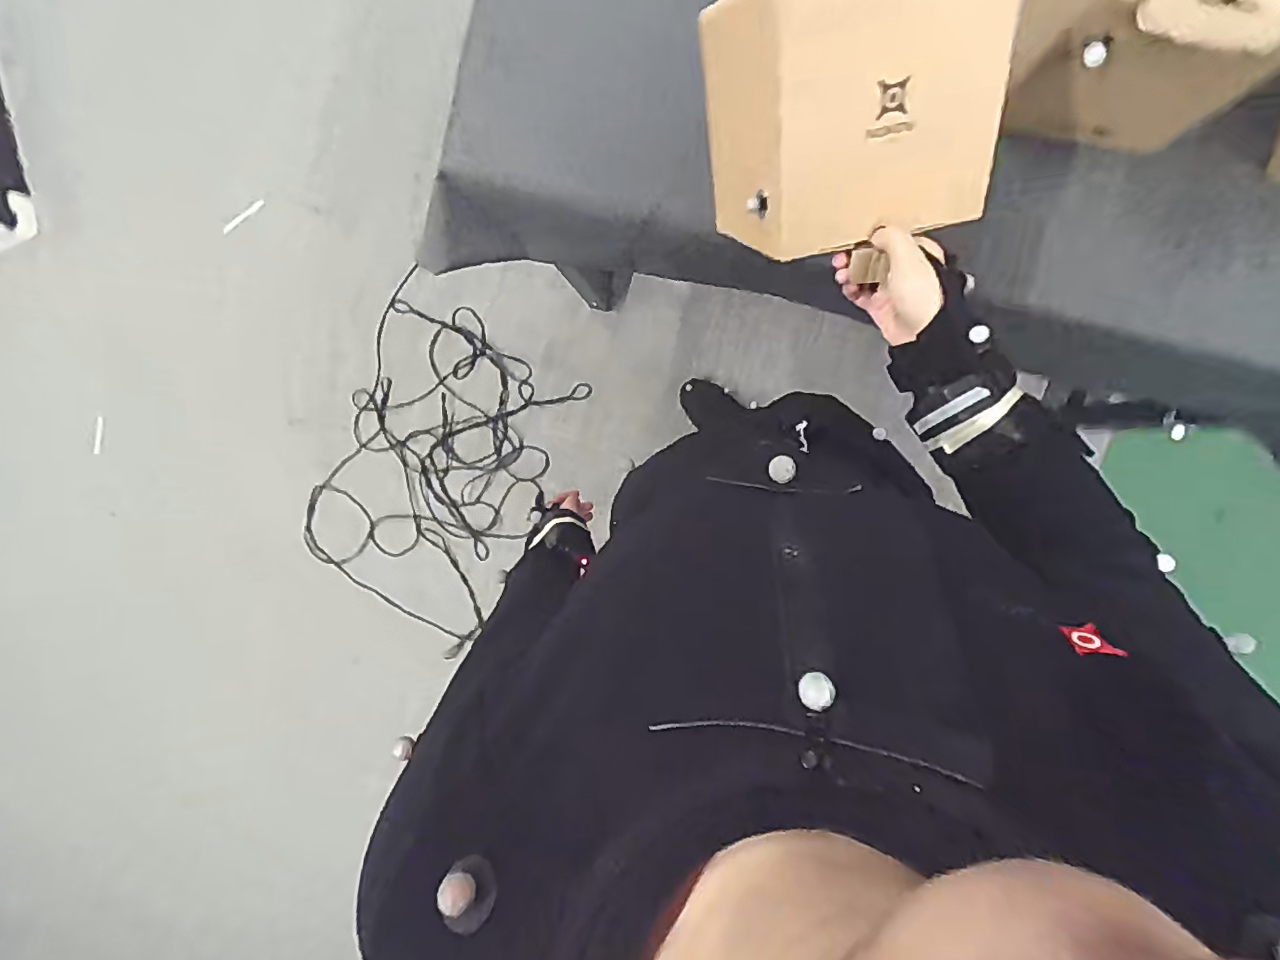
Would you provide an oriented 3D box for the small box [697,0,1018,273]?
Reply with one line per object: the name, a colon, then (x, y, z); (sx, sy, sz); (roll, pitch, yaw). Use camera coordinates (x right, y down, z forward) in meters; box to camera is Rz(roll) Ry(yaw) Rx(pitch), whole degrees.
small box: (0.152, -0.288, 0.430); (0.168, 0.176, 0.179); (-15, 125, -3)
